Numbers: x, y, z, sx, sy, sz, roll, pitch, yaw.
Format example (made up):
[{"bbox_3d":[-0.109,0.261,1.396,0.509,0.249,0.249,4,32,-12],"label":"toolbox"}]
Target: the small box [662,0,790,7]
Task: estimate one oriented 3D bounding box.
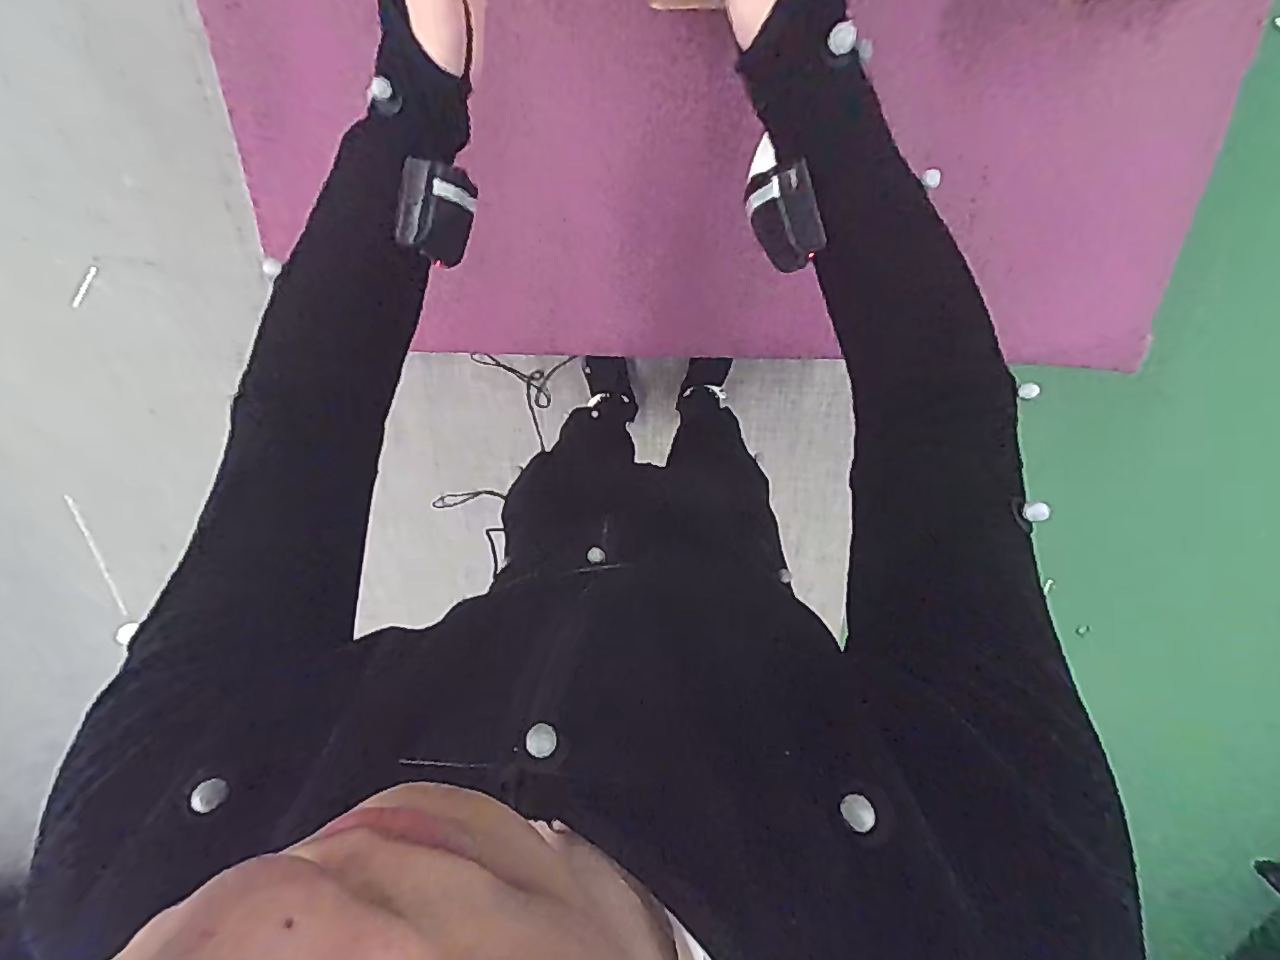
[{"bbox_3d":[0.093,-0.579,0.498,0.168,0.176,0.179,0,116,0],"label":"small box"}]
